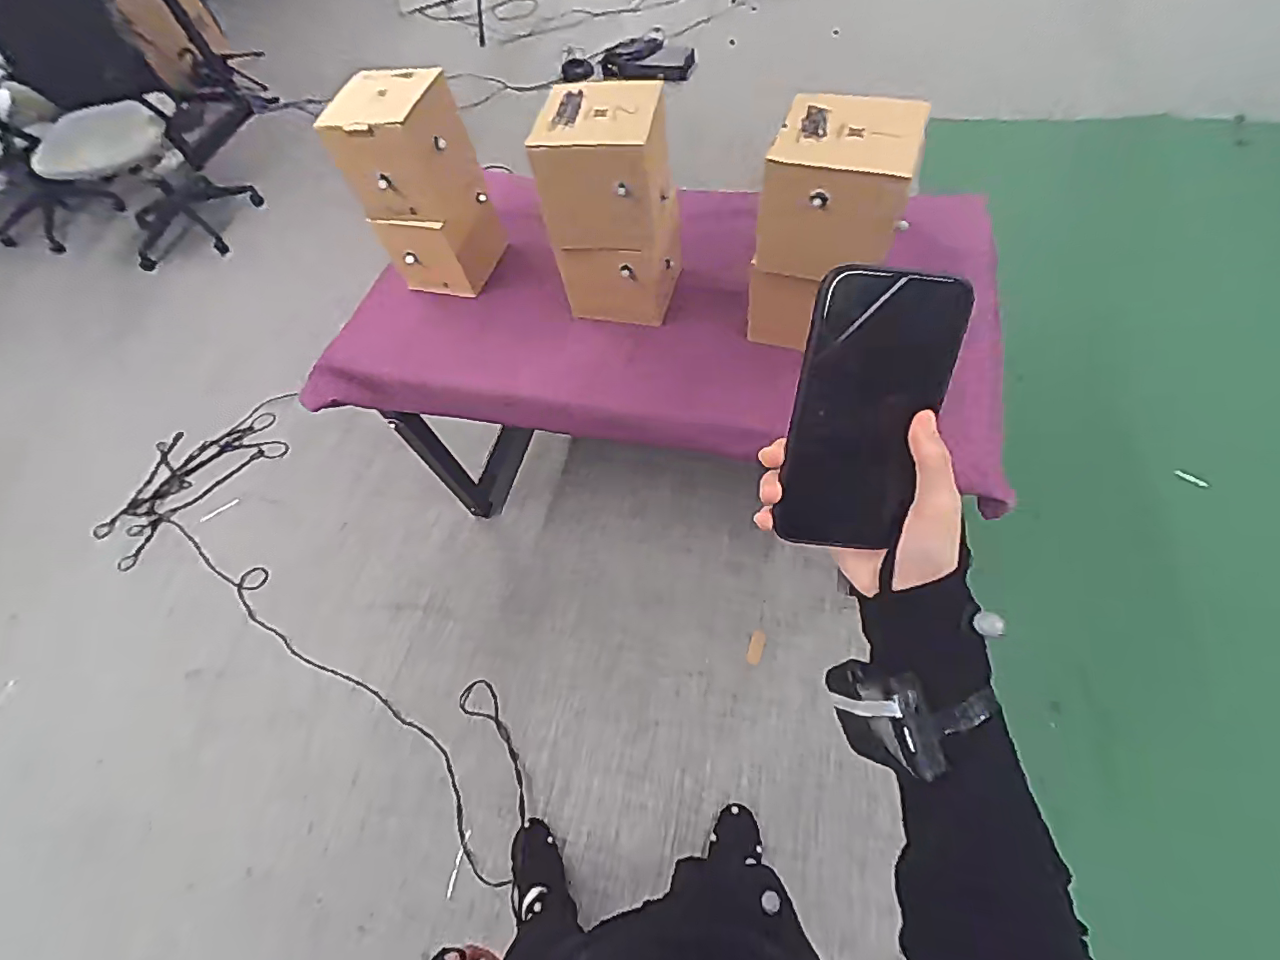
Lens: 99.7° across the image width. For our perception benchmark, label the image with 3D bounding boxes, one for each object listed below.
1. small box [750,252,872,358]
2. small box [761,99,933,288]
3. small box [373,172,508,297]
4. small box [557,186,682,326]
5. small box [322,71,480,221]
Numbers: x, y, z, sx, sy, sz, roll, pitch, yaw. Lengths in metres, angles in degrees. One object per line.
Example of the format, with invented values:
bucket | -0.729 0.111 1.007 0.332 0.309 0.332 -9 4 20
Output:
small box | 0.294 -0.328 0.904 0.179 0.176 0.168 17 64 18
small box | 0.277 -0.394 0.754 0.179 0.176 0.168 17 64 16
small box | -0.391 -0.498 1.099 0.168 0.176 0.179 12 63 15
small box | -0.026 -0.406 0.993 0.179 0.176 0.168 11 62 14
small box | -0.409 -0.587 0.962 0.168 0.176 0.179 8 62 12
